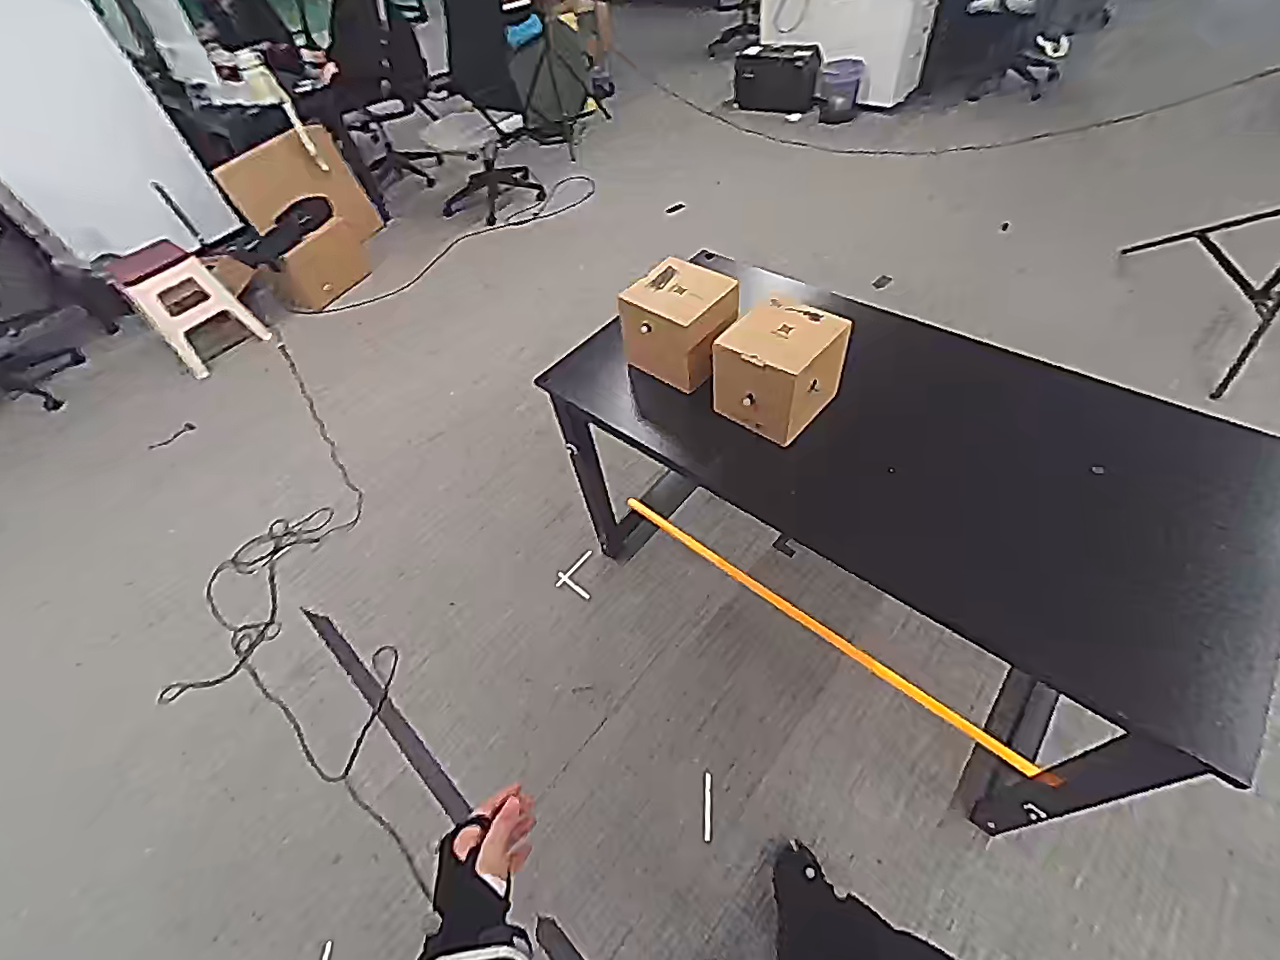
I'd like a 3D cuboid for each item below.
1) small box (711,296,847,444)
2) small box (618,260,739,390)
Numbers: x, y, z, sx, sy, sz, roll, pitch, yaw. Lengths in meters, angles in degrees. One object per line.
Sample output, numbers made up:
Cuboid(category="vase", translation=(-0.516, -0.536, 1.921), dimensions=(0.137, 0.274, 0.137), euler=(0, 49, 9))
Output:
Cuboid(category="small box", translation=(0.248, -0.196, 0.984), dimensions=(0.168, 0.176, 0.179), euler=(33, 63, 27))
Cuboid(category="small box", translation=(0.080, -0.311, 1.097), dimensions=(0.179, 0.176, 0.168), euler=(33, 63, 28))
